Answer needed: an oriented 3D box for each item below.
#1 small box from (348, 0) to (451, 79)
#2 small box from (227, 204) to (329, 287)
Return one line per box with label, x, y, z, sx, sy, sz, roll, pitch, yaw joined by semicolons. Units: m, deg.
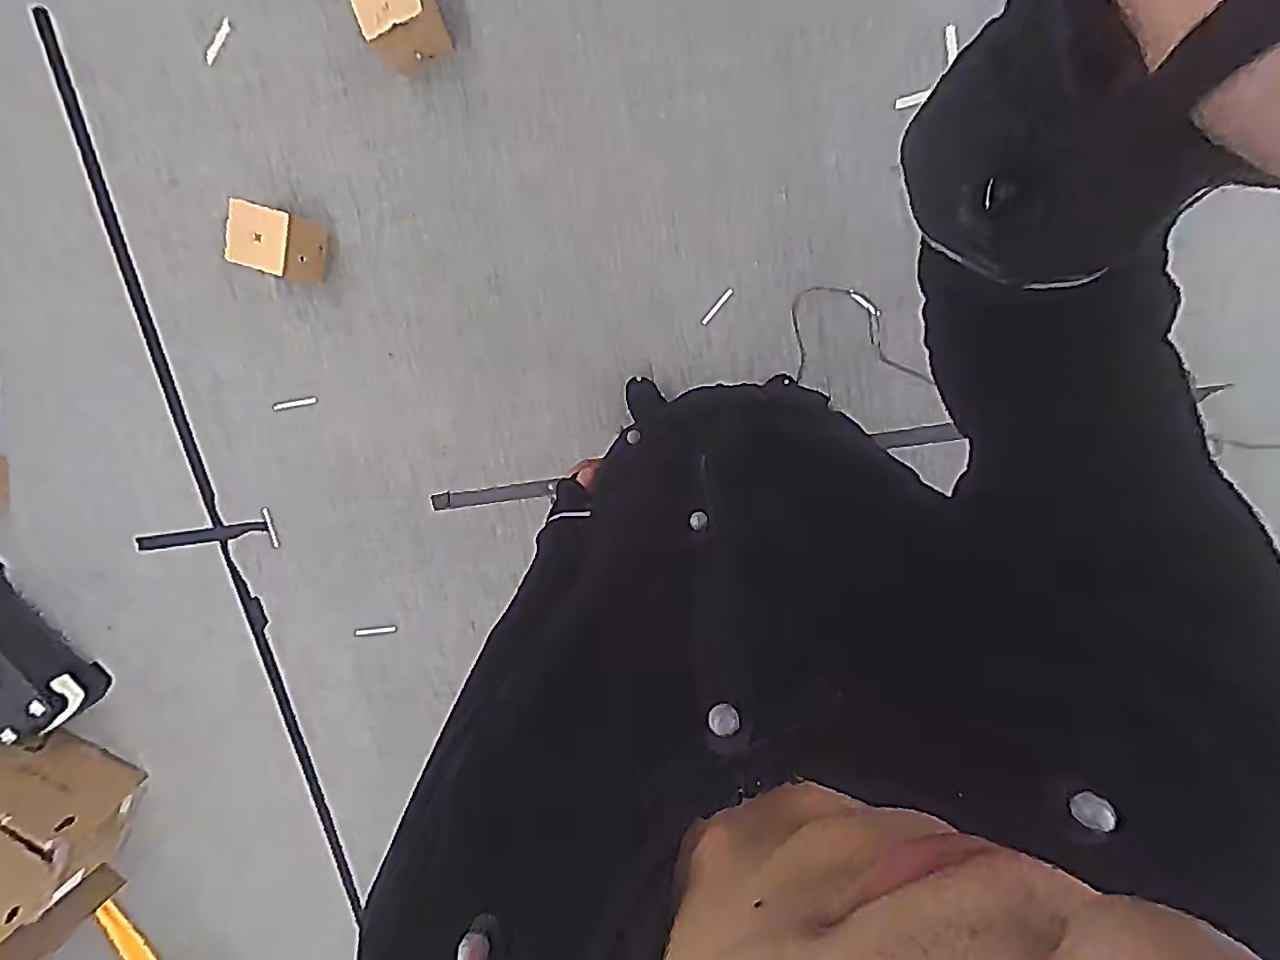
small box;-0.618;-1.186;1.380;0.168;0.176;0.179;-19;100;10
small box;-1.025;-0.659;1.541;0.179;0.176;0.168;17;103;3
